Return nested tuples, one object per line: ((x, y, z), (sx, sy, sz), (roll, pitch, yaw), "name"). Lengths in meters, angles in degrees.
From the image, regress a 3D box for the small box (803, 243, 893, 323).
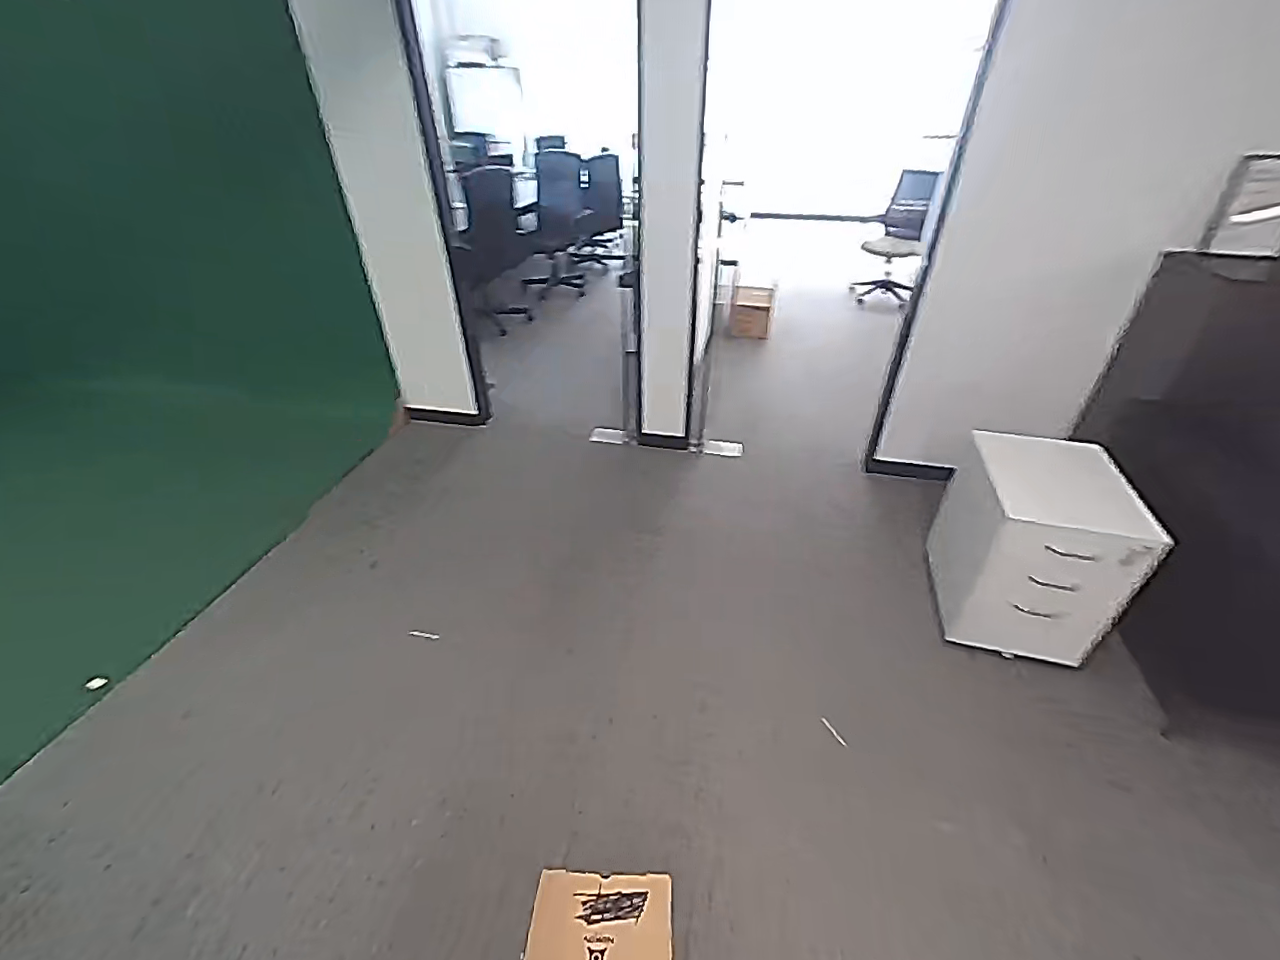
((0.668, -0.629, 1.739), (0.168, 0.176, 0.179), (-22, -6, -31), "small box")
